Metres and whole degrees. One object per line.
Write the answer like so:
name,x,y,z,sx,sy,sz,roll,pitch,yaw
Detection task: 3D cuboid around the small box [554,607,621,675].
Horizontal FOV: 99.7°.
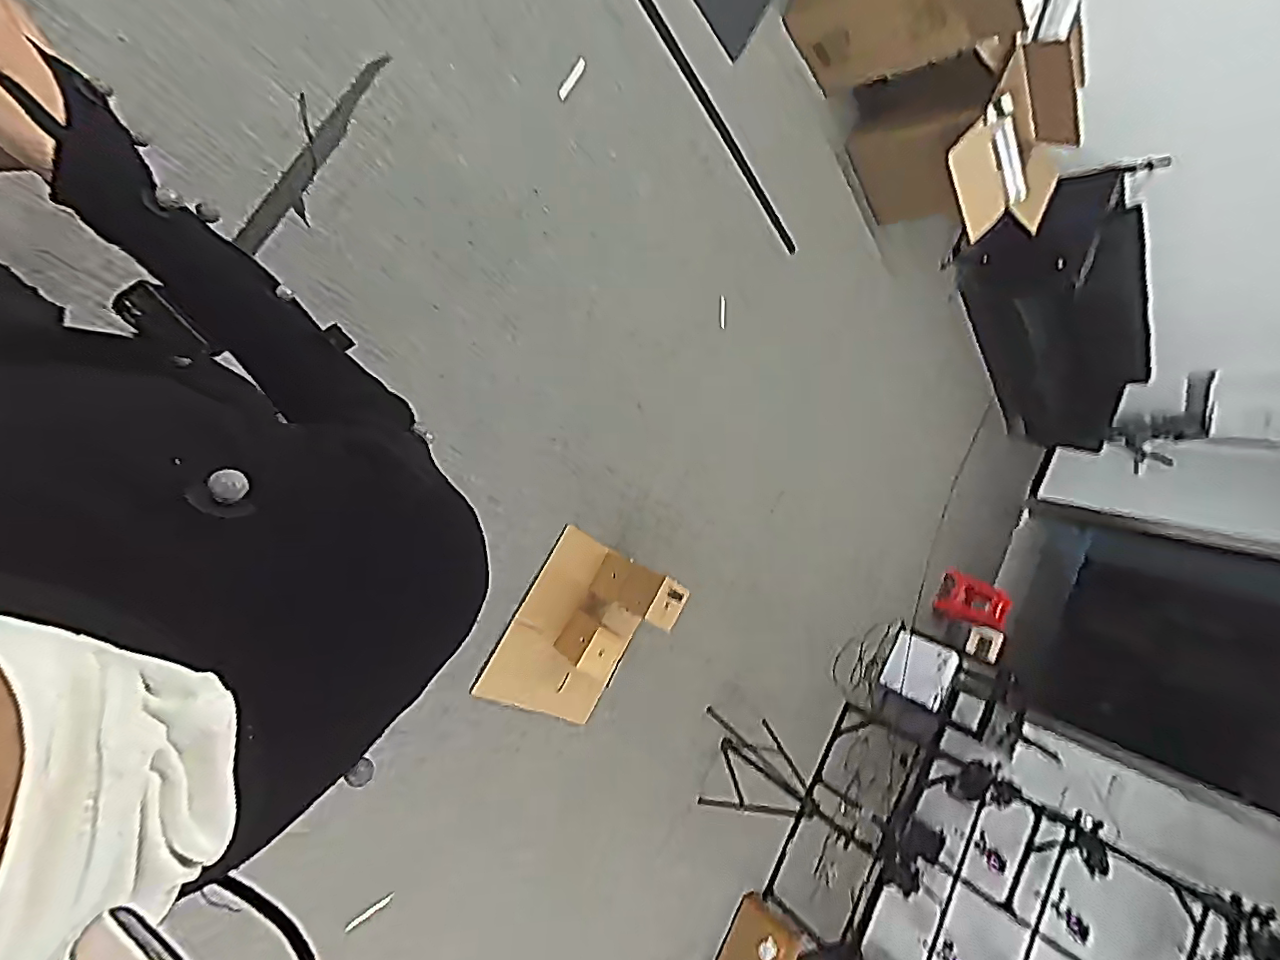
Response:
small box,-0.212,0.625,2.113,0.168,0.176,0.179,40,75,-40

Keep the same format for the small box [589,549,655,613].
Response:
small box,-0.079,0.401,2.165,0.168,0.176,0.179,38,75,-41

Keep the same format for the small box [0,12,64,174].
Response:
small box,-0.540,-0.323,0.349,0.168,0.176,0.179,-25,107,-31
